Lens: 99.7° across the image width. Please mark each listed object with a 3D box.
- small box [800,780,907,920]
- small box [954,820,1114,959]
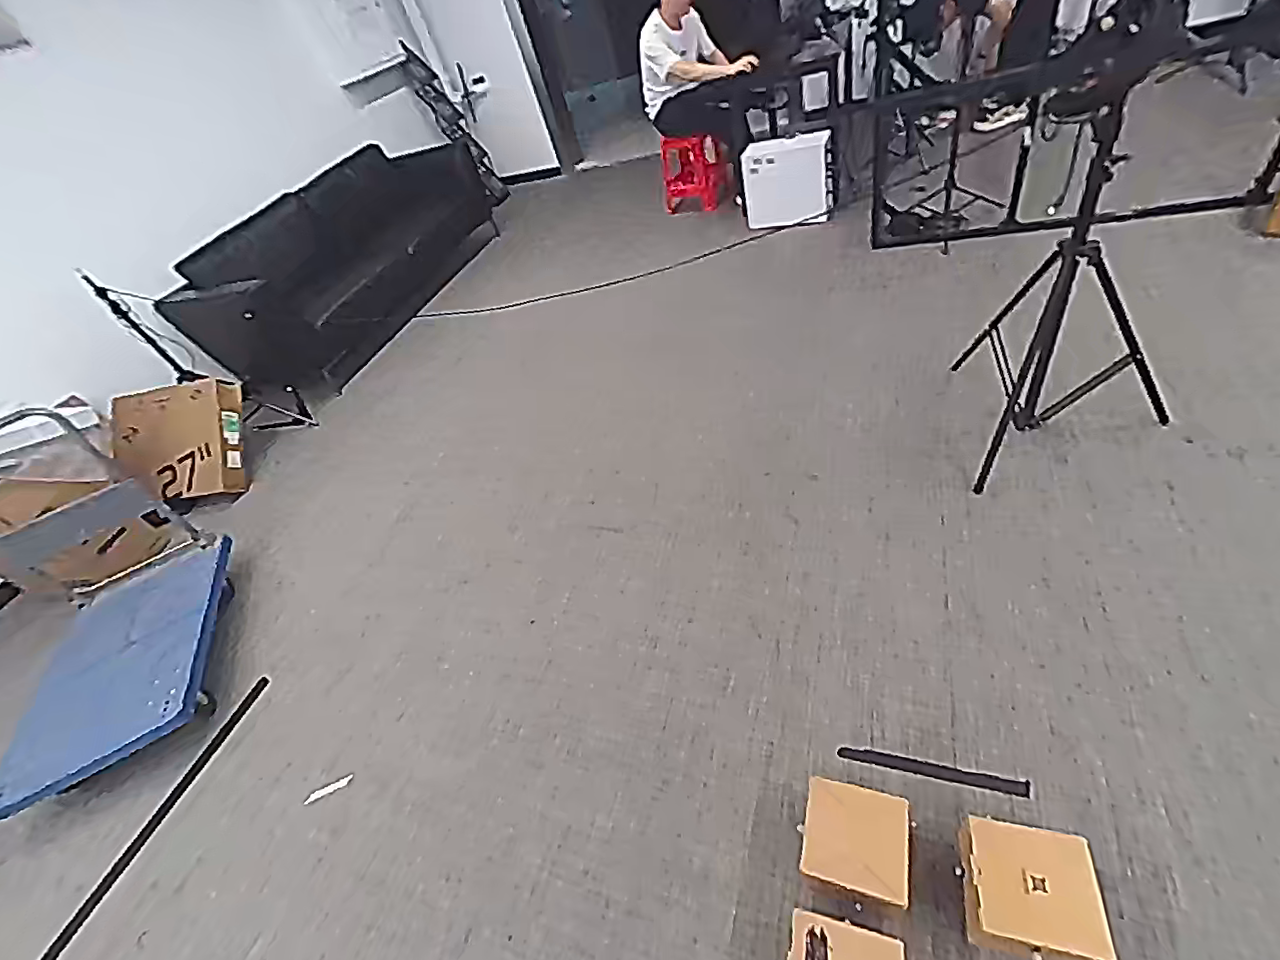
[{"bbox_3d":[0.409,0.702,1.031,0.179,0.176,0.168,4,48,24],"label":"small box"},{"bbox_3d":[0.660,0.715,0.929,0.179,0.176,0.168,-1,46,21],"label":"small box"}]
